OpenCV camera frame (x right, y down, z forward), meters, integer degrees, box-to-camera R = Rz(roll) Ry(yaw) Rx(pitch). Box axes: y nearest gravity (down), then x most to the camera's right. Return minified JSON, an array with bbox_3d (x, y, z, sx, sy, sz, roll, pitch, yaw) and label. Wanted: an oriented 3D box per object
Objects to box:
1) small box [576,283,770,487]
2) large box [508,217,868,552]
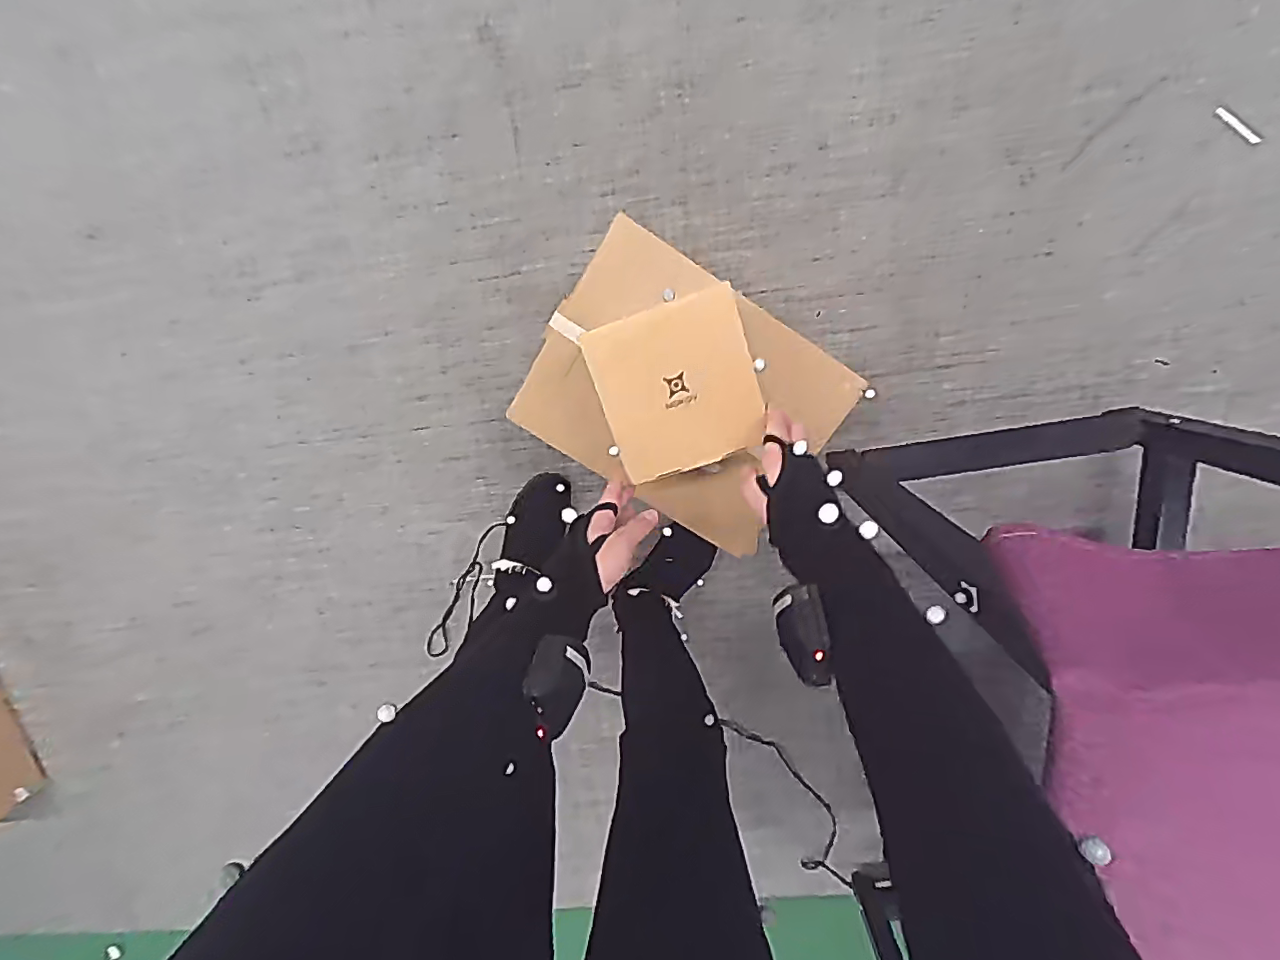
[{"bbox_3d":[0.037,-0.115,0.636,0.168,0.176,0.179,-17,107,7],"label":"small box"},{"bbox_3d":[0.063,-0.156,0.879,0.408,0.320,0.320,31,107,-8],"label":"large box"}]
